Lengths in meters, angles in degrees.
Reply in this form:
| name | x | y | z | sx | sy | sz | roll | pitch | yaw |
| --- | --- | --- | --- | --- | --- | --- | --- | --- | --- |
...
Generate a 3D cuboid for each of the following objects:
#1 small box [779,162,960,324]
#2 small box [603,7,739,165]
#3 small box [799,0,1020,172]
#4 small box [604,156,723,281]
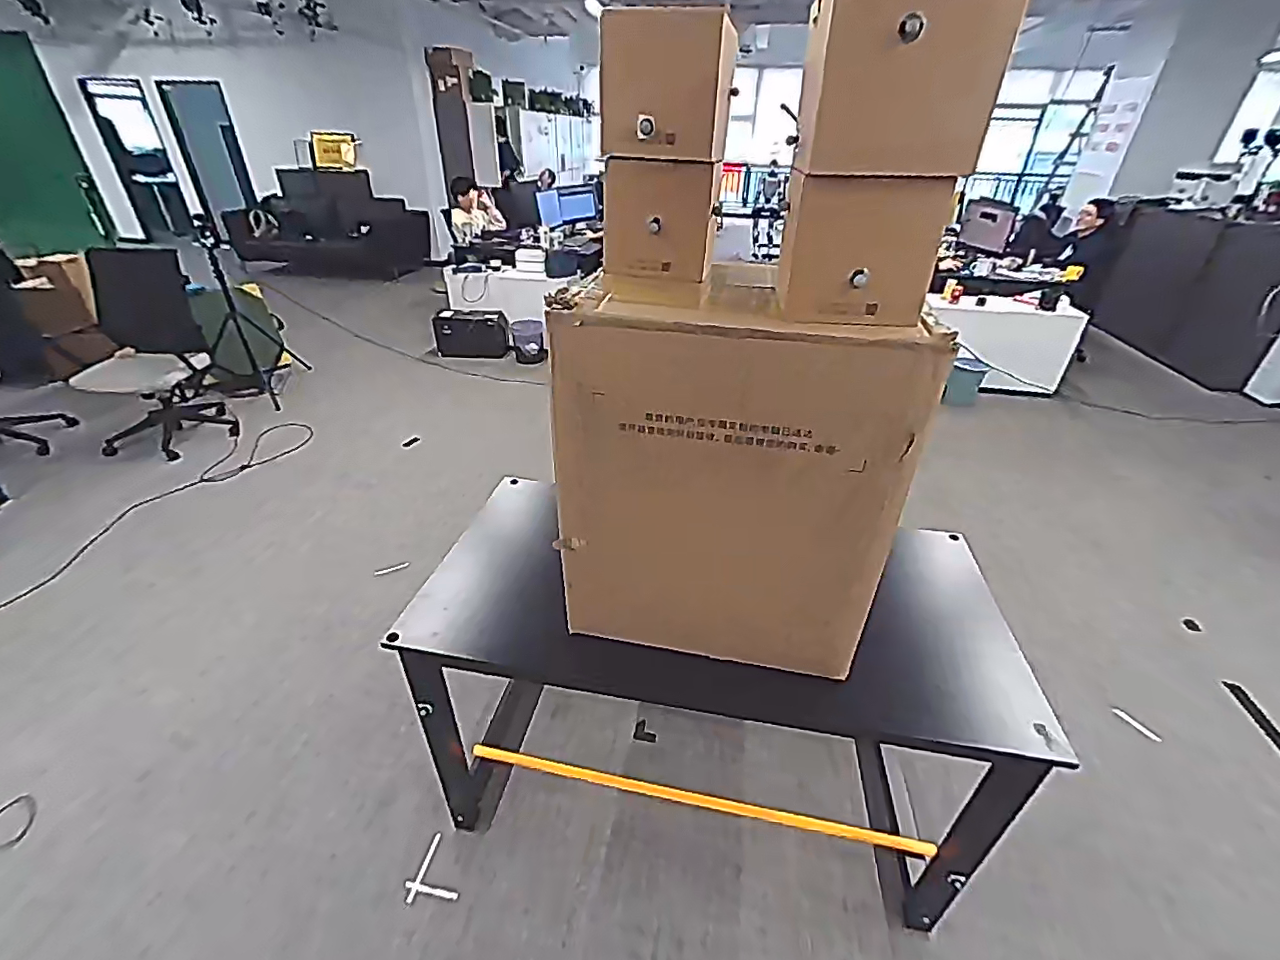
| name | x | y | z | sx | sy | sz | roll | pitch | yaw |
| --- | --- | --- | --- | --- | --- | --- | --- | --- | --- |
| small box | 0.279 | -0.315 | 0.707 | 0.168 | 0.176 | 0.179 | 4 | 33 | 7 |
| small box | 0.047 | -0.565 | 0.790 | 0.168 | 0.176 | 0.179 | 8 | 33 | 10 |
| small box | 0.279 | -0.440 | 0.598 | 0.179 | 0.176 | 0.168 | 4 | 33 | 5 |
| small box | 0.042 | -0.435 | 0.891 | 0.168 | 0.176 | 0.179 | 8 | 33 | 8 |
